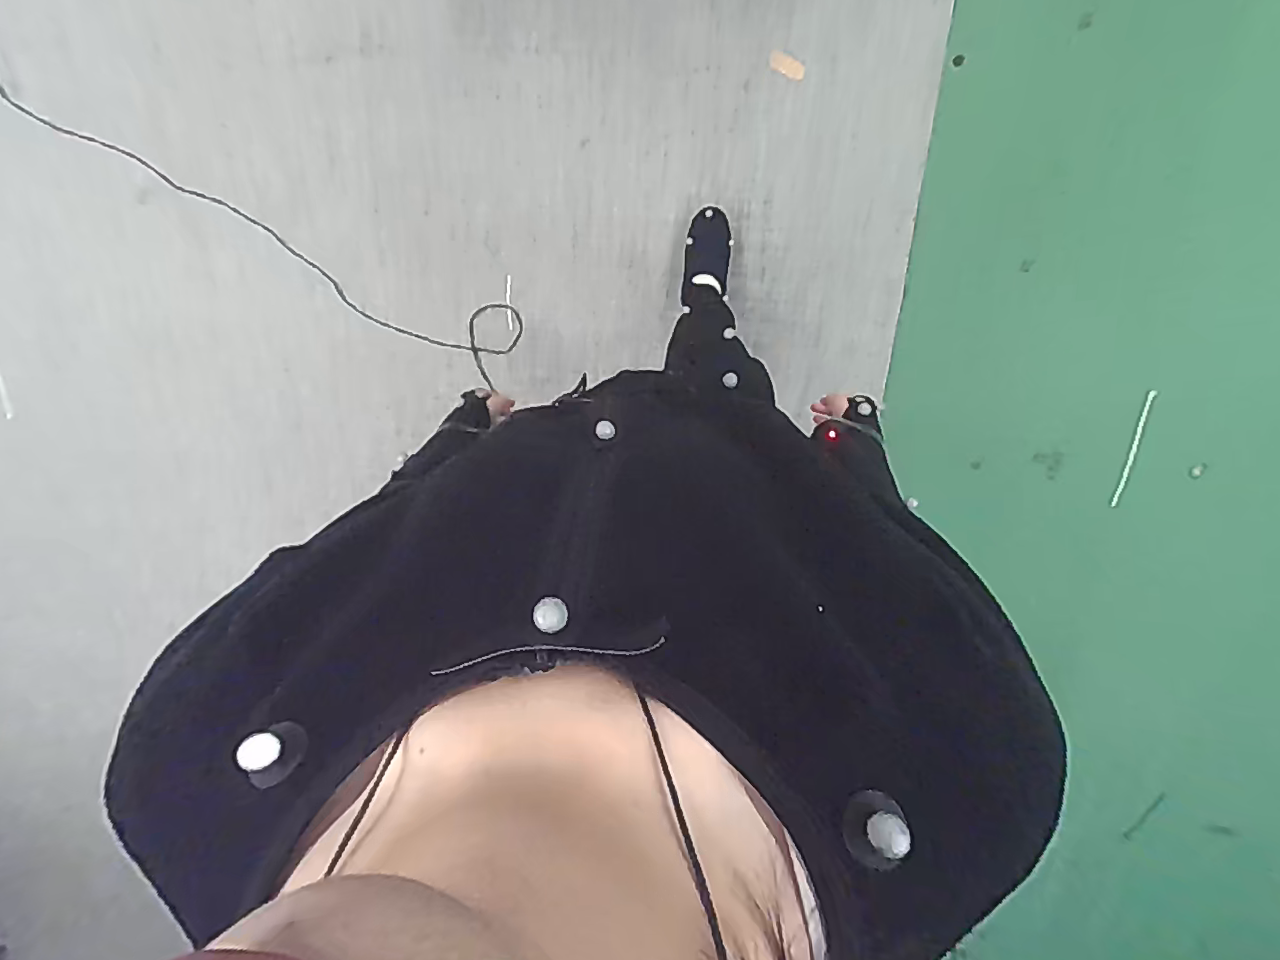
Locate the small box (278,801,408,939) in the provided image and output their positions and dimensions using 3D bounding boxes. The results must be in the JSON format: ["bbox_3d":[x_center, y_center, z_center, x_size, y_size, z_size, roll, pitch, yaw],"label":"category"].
[{"bbox_3d":[-0.679,0.898,1.257,0.179,0.176,0.168,35,106,-5],"label":"small box"}]

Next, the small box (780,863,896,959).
[{"bbox_3d":[0.356,0.840,0.993,0.168,0.176,0.179,-6,104,6],"label":"small box"}]

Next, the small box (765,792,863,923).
[{"bbox_3d":[0.363,0.793,1.150,0.168,0.176,0.179,-5,105,6],"label":"small box"}]

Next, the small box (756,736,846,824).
[{"bbox_3d":[0.385,0.742,1.305,0.179,0.176,0.168,-6,104,6],"label":"small box"}]
